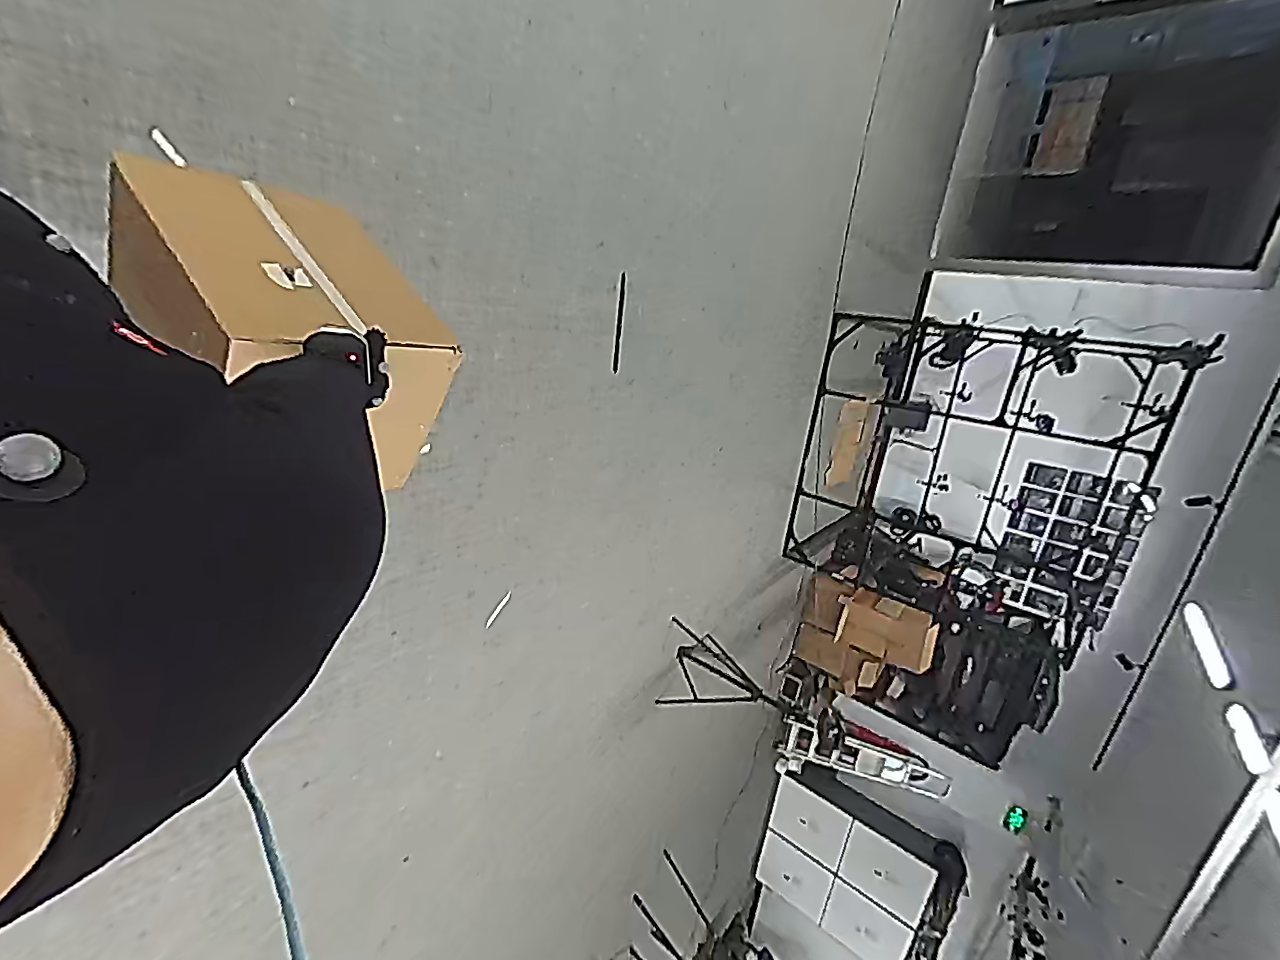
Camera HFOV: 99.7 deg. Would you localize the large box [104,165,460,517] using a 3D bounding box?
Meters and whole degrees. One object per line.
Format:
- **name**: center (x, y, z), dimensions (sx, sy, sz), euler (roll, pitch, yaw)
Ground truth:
- **large box**: center (-0.576, -0.208, 0.866), dimensions (0.320, 0.408, 0.320), euler (-17, 149, -55)
